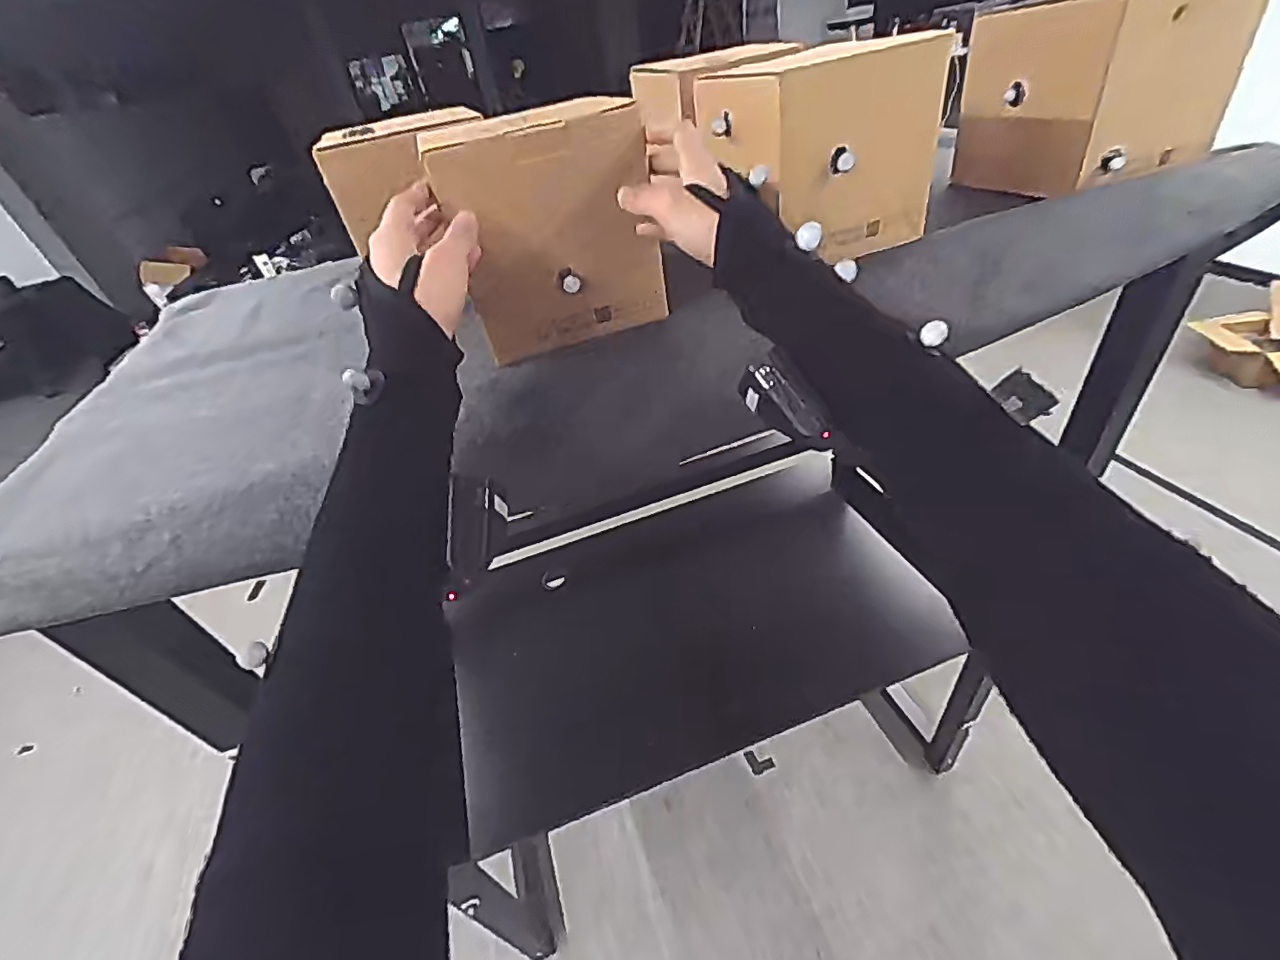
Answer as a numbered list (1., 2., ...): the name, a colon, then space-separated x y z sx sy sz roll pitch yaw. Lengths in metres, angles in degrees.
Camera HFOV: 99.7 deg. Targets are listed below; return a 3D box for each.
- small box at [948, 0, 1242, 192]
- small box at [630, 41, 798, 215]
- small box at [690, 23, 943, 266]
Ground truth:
1. small box: 0.469 -0.420 0.577 0.168 0.176 0.179 -17 36 -7
2. small box: 0.098 -0.480 0.746 0.168 0.176 0.179 -19 39 -10
3. small box: 0.166 -0.332 0.550 0.168 0.176 0.179 -19 37 -9
